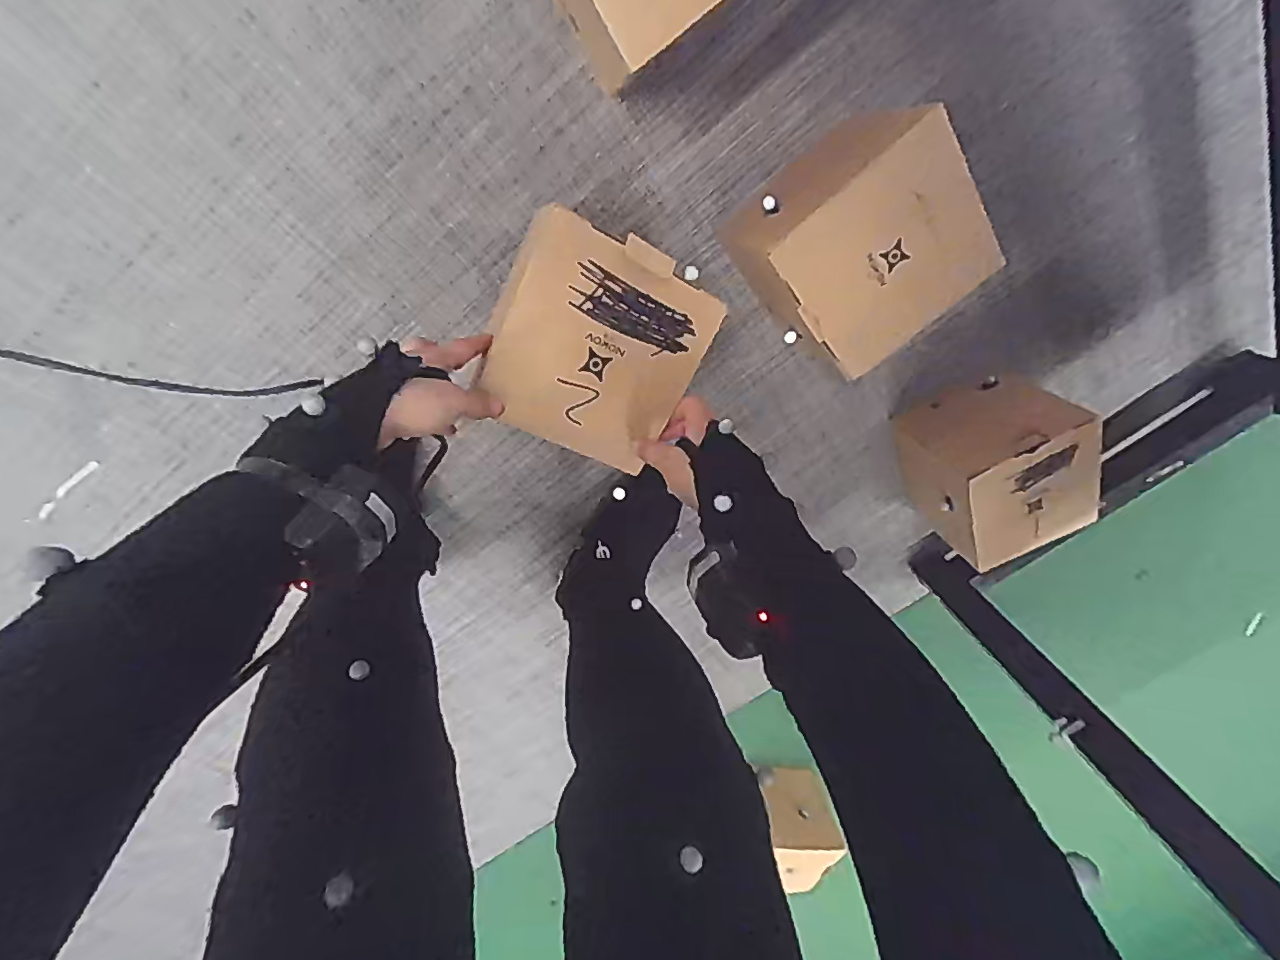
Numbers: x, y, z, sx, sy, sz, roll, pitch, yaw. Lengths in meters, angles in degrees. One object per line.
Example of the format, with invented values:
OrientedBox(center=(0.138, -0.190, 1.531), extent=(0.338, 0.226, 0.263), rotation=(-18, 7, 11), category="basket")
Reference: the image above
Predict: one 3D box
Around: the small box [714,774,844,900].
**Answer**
OrientedBox(center=(0.283, 0.747, 1.139), extent=(0.179, 0.176, 0.168), rotation=(14, 117, -18), category="small box")

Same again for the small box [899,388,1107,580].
OrientedBox(center=(0.476, -0.005, 0.730), extent=(0.168, 0.176, 0.179), rotation=(-25, 122, 6), category="small box")

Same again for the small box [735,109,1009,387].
OrientedBox(center=(0.216, -0.232, 0.552), extent=(0.179, 0.176, 0.168), rotation=(-40, 119, 12), category="small box")

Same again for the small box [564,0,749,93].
OrientedBox(center=(0.015, -0.430, 0.404), extent=(0.179, 0.176, 0.168), rotation=(-33, 120, 10), category="small box")
